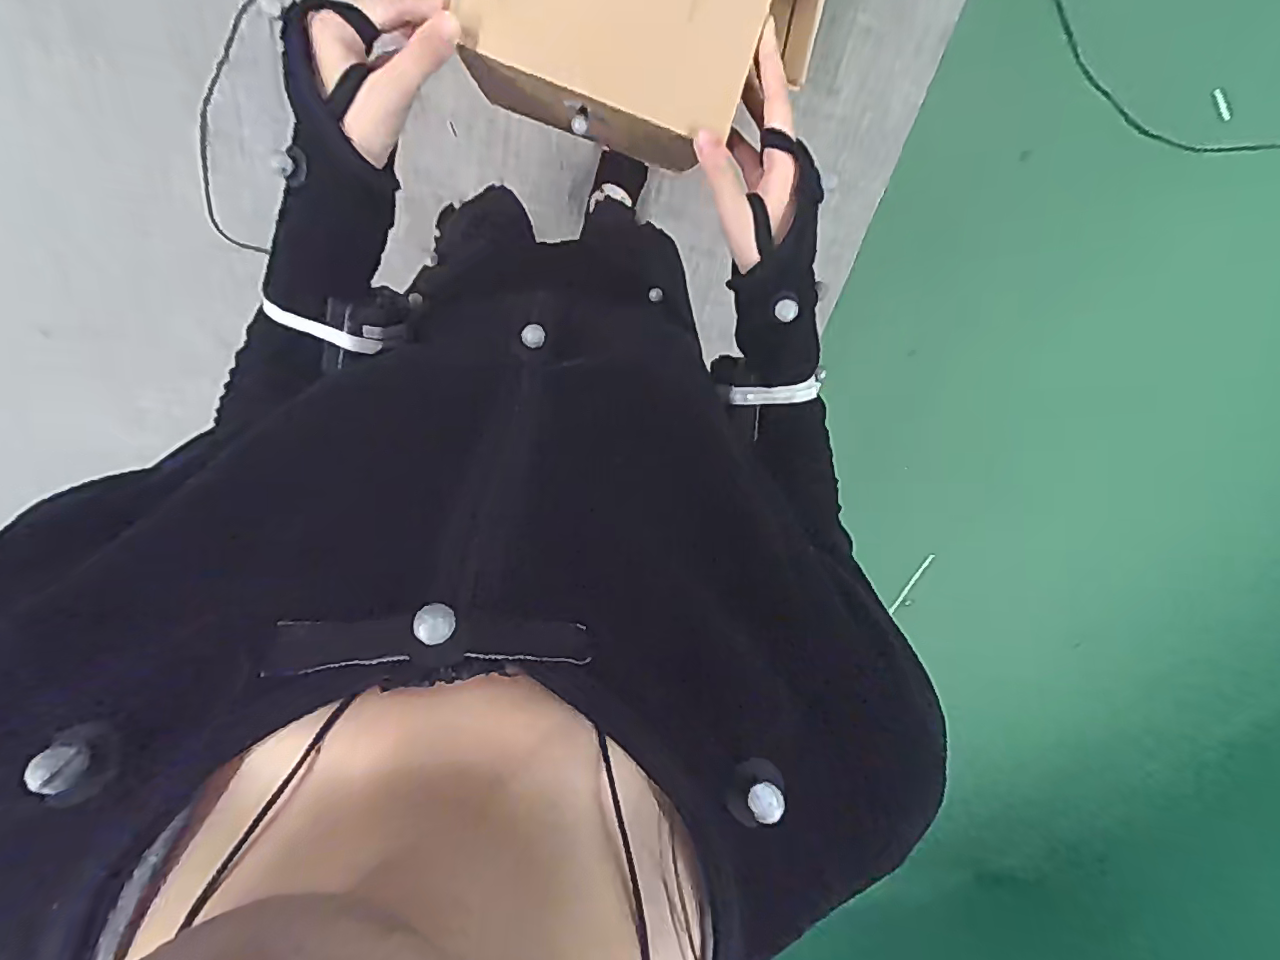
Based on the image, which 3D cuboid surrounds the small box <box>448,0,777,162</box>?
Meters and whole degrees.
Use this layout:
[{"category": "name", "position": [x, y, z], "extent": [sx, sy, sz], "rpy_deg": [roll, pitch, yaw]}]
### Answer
[{"category": "small box", "position": [-0.009, -0.336, 0.362], "extent": [0.179, 0.176, 0.168], "rpy_deg": [14, 112, -14]}]
